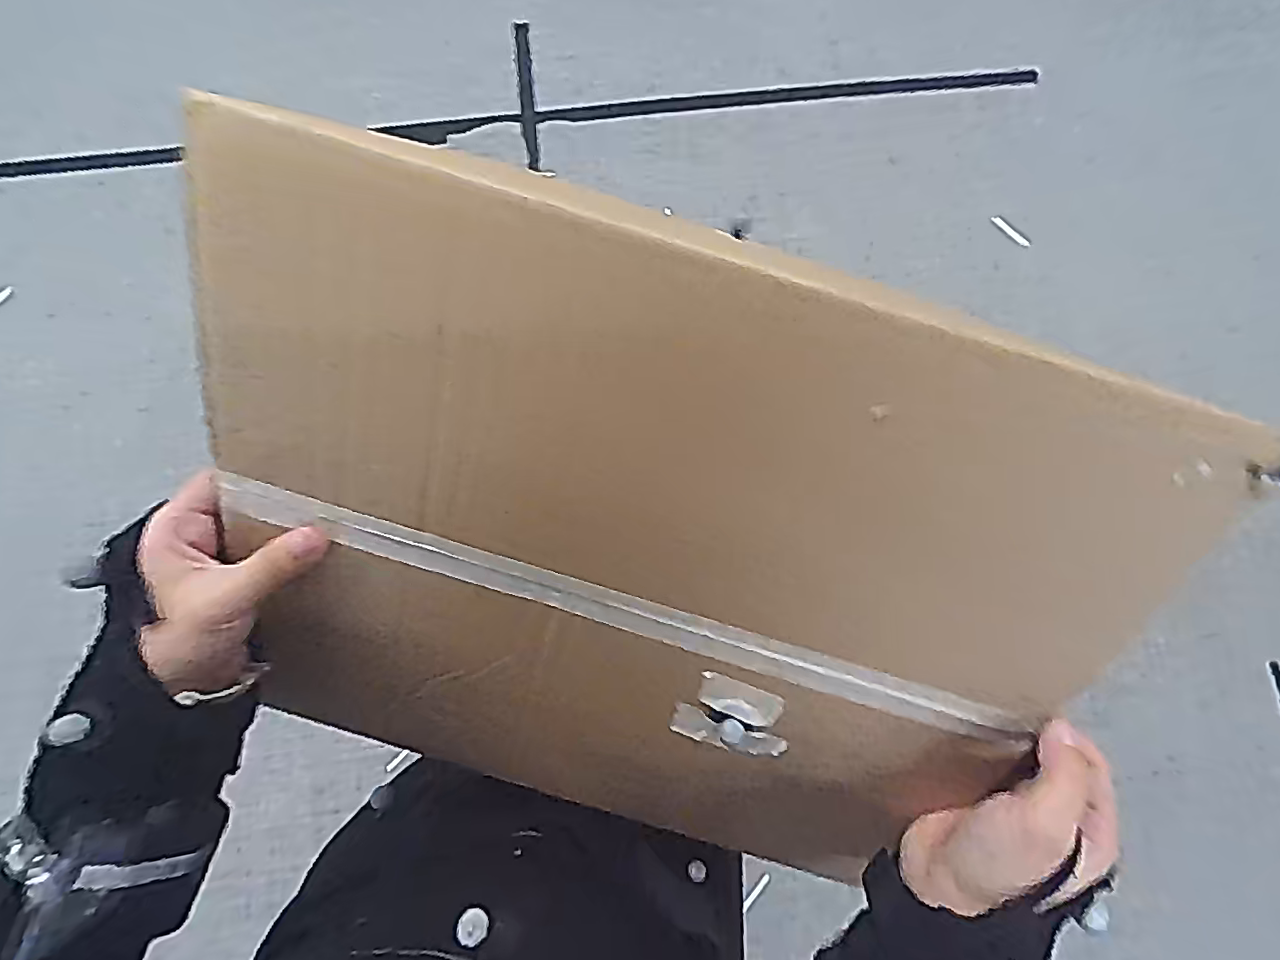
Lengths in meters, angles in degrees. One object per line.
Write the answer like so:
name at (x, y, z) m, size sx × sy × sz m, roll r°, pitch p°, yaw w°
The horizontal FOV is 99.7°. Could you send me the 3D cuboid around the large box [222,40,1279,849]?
large box at (0.027, -0.030, 0.382) m, size 0.408 × 0.320 × 0.320 m, roll 16°, pitch 117°, yaw -1°
